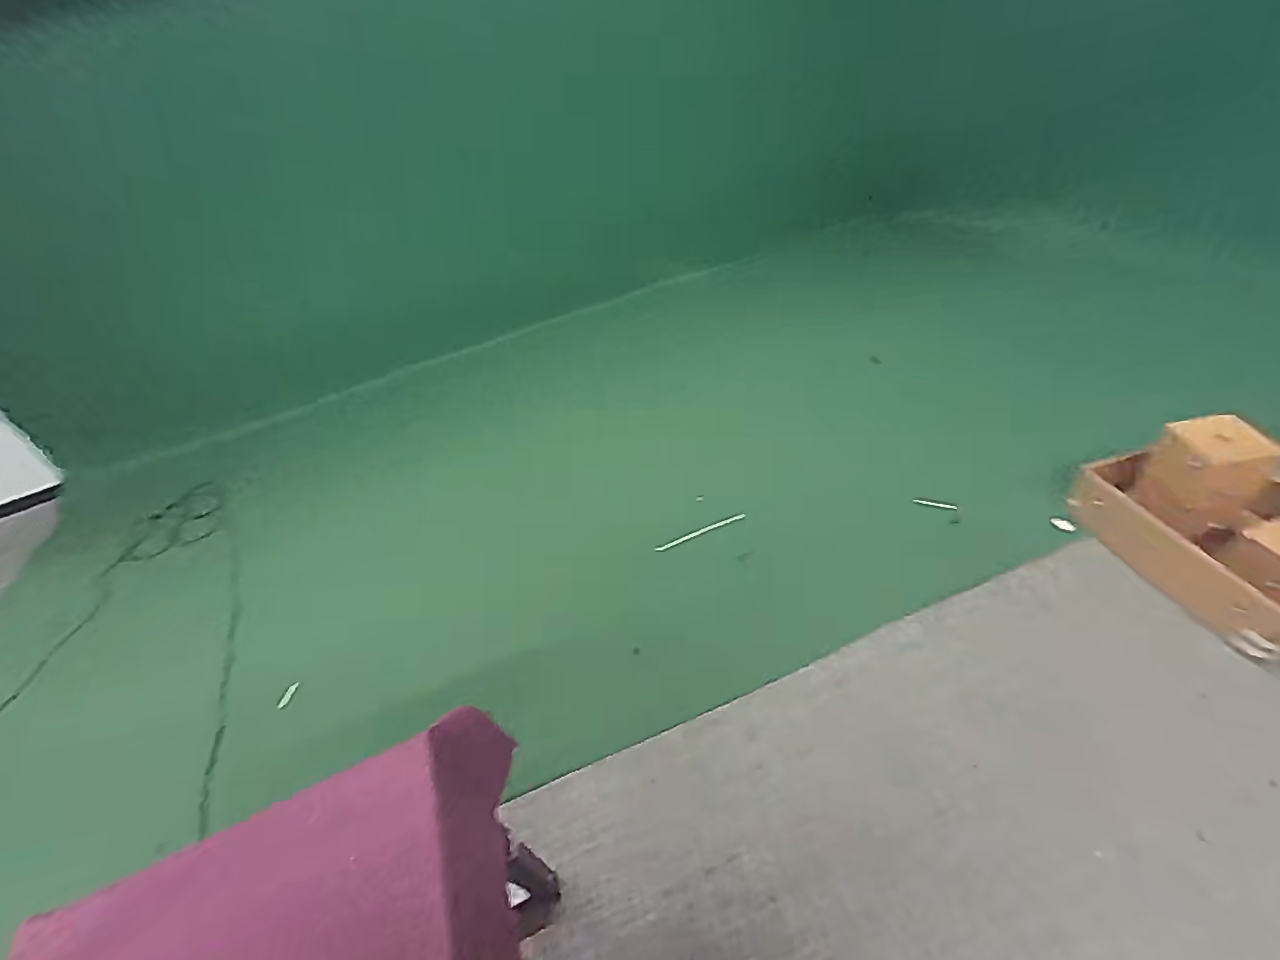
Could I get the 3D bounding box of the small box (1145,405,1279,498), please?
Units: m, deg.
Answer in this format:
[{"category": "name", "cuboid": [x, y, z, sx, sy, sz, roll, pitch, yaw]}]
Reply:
[{"category": "small box", "cuboid": [1.557, -0.076, 1.482, 0.168, 0.176, 0.179, -11, 42, 7]}]
